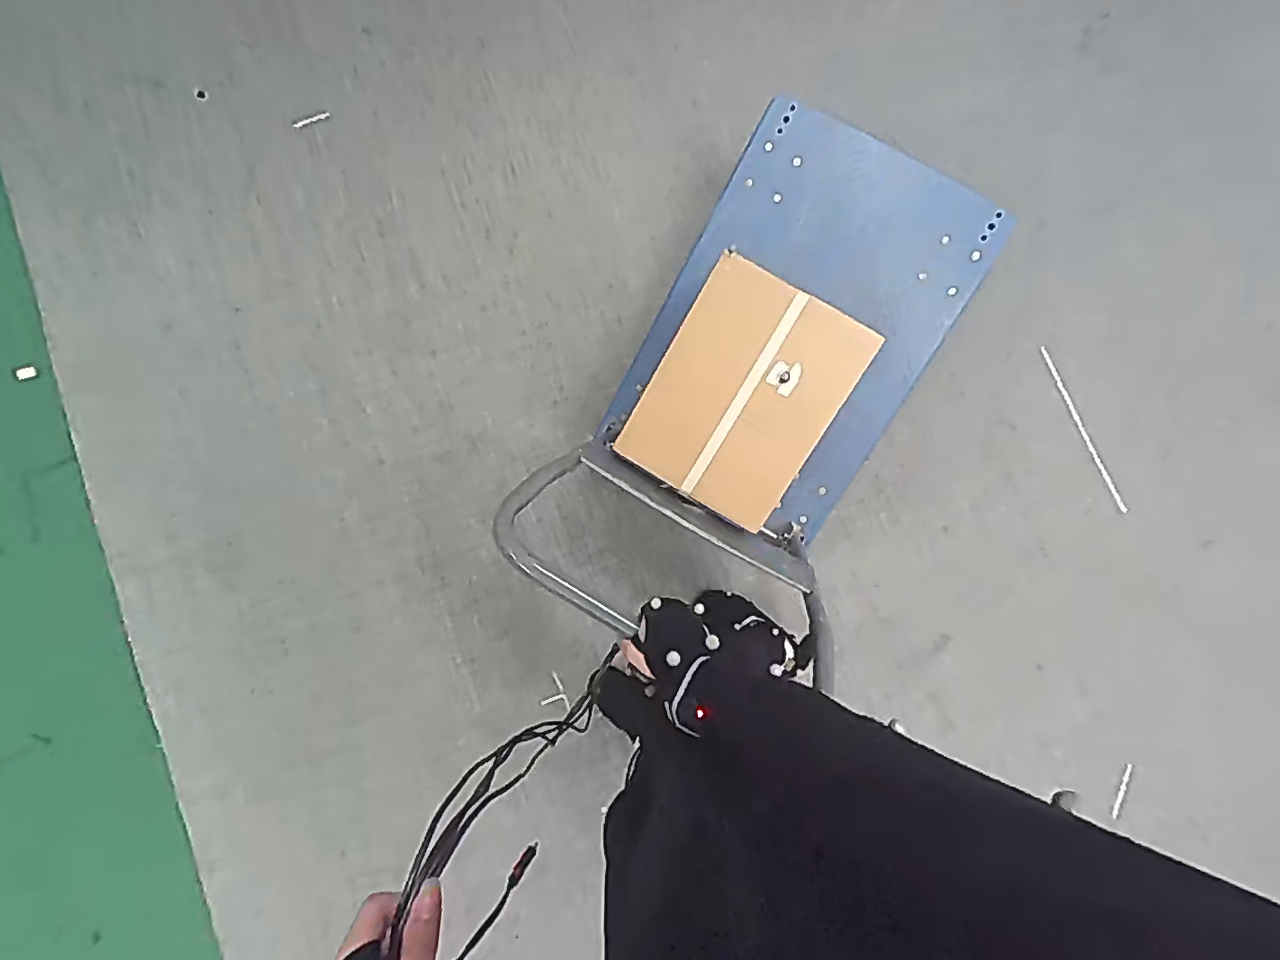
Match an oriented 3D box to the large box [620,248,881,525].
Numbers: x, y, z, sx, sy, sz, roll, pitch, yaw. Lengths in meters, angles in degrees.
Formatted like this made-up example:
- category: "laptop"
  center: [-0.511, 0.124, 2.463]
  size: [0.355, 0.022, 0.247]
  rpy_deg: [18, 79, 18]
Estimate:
- category: "large box"
  center: [0.208, -0.178, 1.106]
  size: [0.320, 0.320, 0.408]
  rpy_deg: [31, 102, 3]
